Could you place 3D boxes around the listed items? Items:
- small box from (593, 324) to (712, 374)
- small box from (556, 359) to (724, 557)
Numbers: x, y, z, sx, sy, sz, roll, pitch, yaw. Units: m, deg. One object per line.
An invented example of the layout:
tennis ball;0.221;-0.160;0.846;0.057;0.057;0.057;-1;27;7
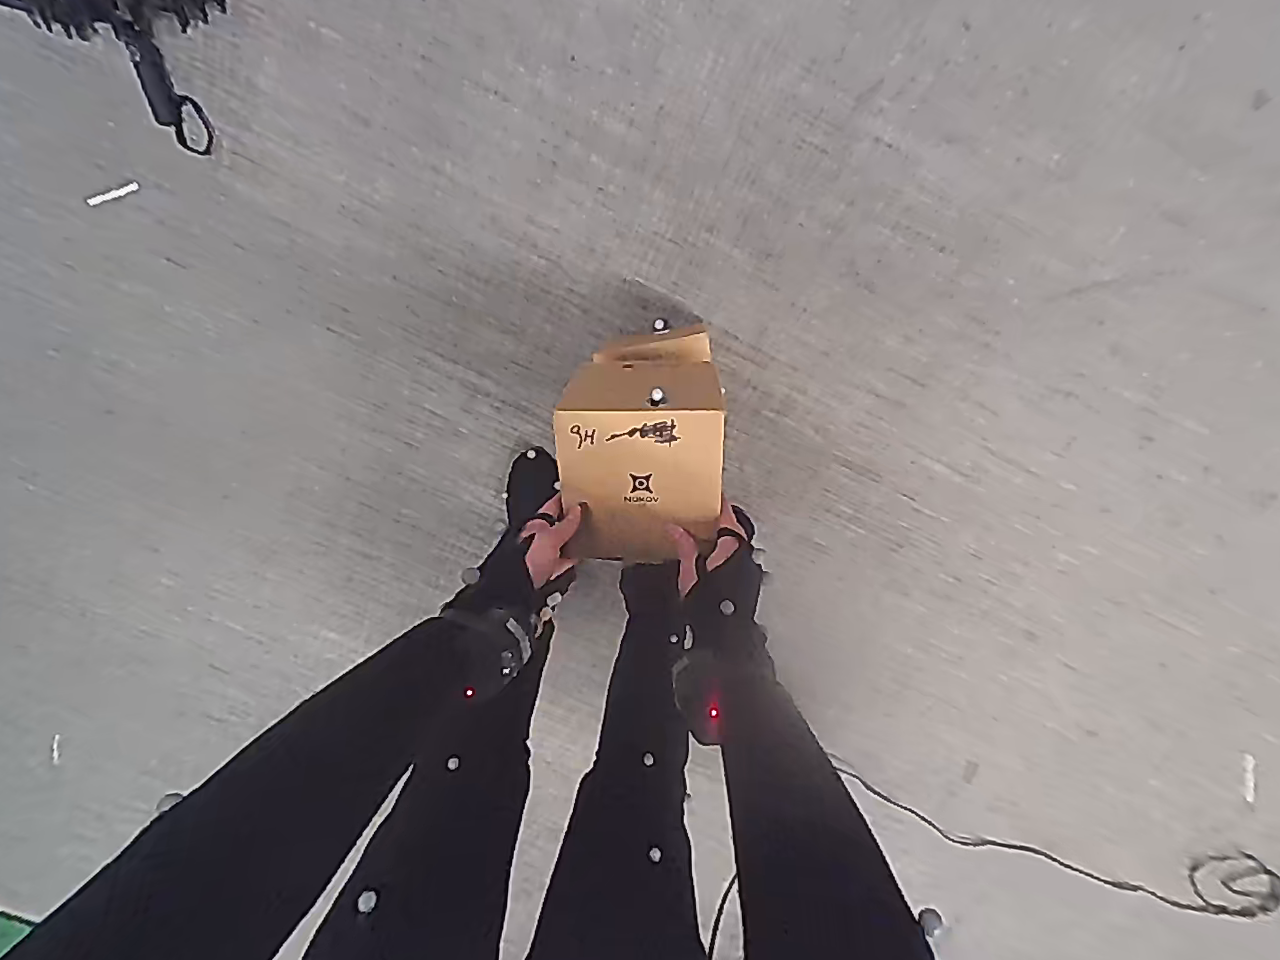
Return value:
small box;0.033;-0.139;0.857;0.168;0.176;0.179;-10;109;7
small box;0.007;-0.029;0.628;0.168;0.176;0.179;-1;120;3
